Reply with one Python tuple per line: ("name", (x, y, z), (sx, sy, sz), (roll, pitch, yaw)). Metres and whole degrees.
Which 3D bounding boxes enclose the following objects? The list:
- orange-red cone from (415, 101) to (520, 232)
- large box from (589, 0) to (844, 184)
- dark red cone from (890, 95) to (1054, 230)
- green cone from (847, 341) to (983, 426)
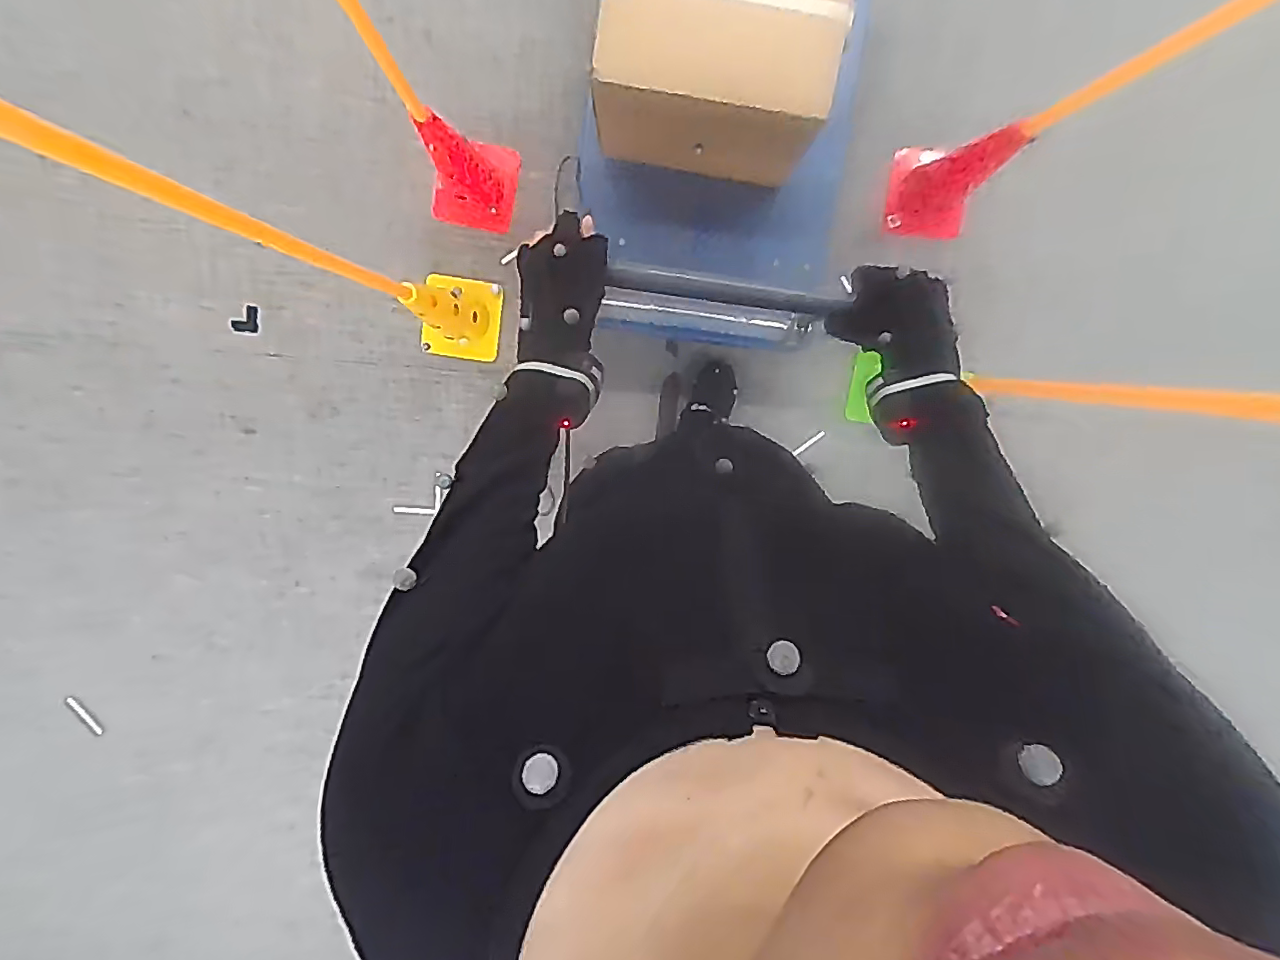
("orange-red cone", (-0.410, -0.719, 1.188), (0.198, 0.360, 0.199), (12, 97, -3))
("large box", (0.135, -0.801, 1.027), (0.408, 0.320, 0.320), (9, 99, -1))
("dark red cone", (0.724, -0.700, 1.166), (0.201, 0.394, 0.202), (5, 99, -2))
("green cone", (0.659, -0.227, 1.257), (0.202, 0.368, 0.200), (9, 99, -2))
